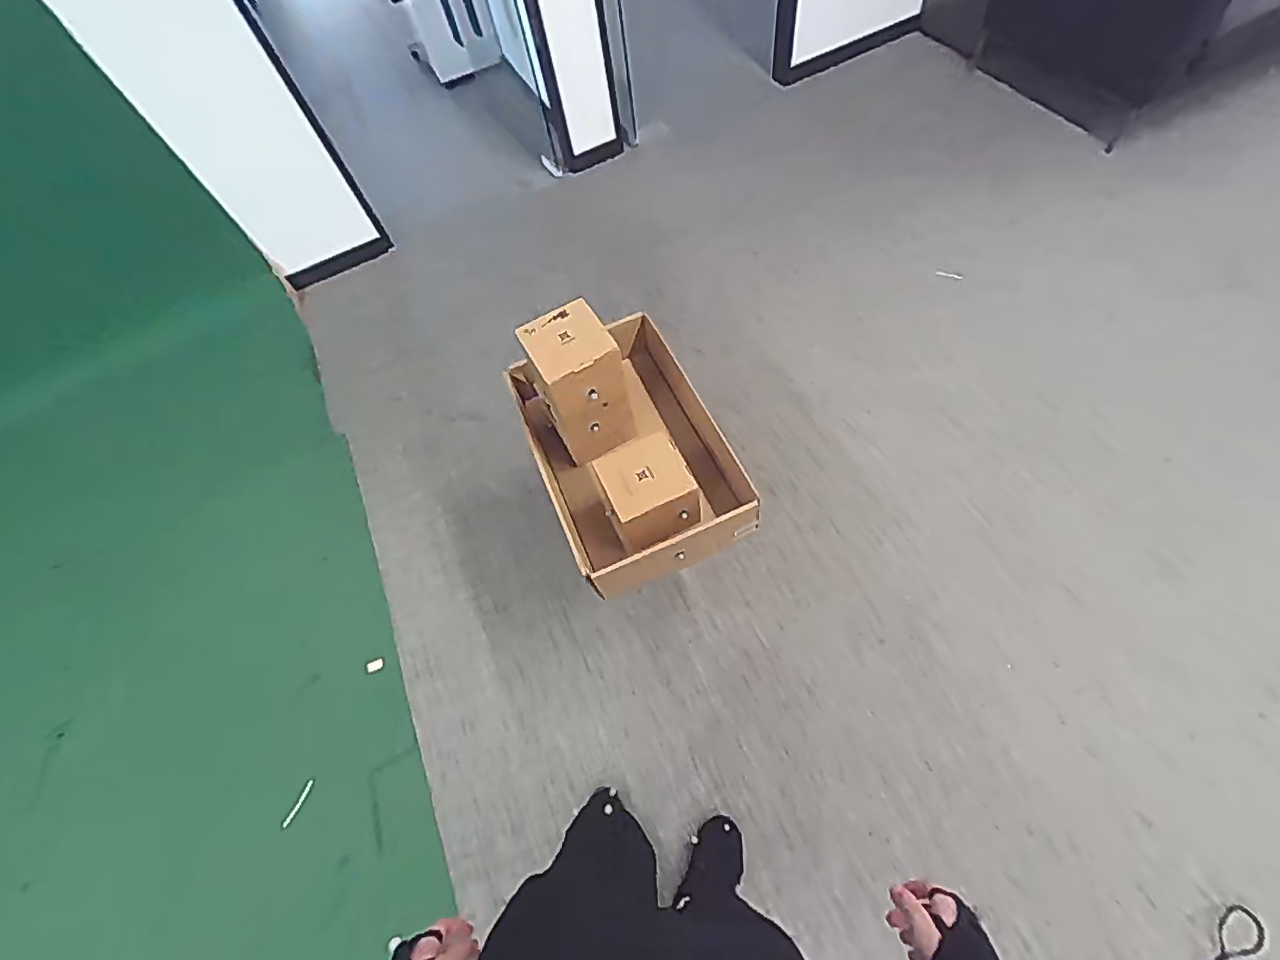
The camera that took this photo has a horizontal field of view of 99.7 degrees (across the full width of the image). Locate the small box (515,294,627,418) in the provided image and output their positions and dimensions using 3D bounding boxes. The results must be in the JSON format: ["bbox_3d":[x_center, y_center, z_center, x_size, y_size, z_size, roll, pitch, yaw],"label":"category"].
[{"bbox_3d":[-0.142,-0.257,1.171,0.168,0.176,0.179,-29,63,-8],"label":"small box"}]
